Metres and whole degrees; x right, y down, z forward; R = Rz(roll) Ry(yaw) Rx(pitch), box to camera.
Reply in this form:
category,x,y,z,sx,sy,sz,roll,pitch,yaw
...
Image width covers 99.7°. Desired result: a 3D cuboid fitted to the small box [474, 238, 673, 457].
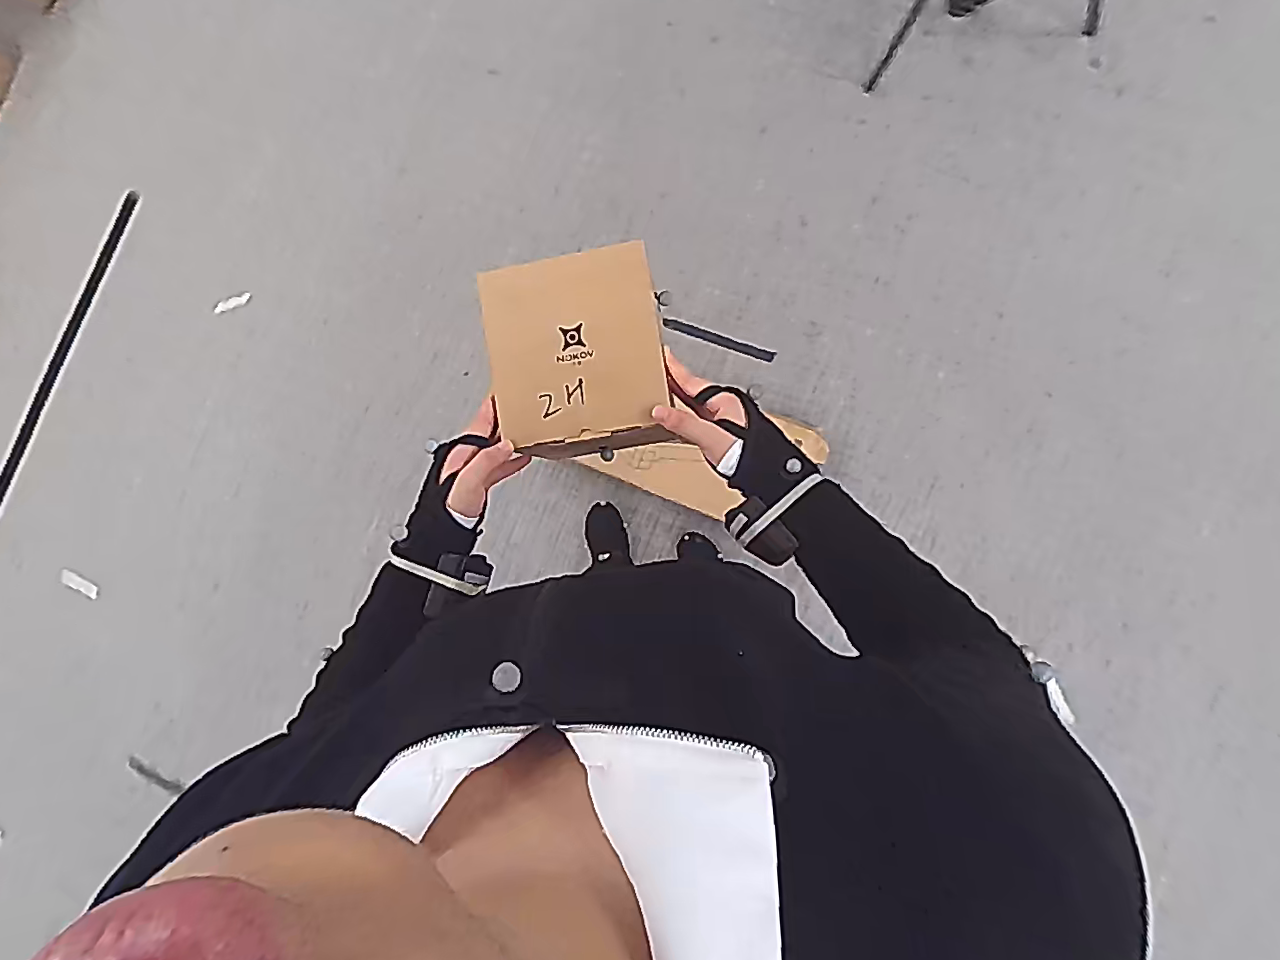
category,x,y,z,sx,sy,sz,roll,pitch,yaw
small box,-0.060,-0.126,0.586,0.168,0.176,0.179,-10,88,6
